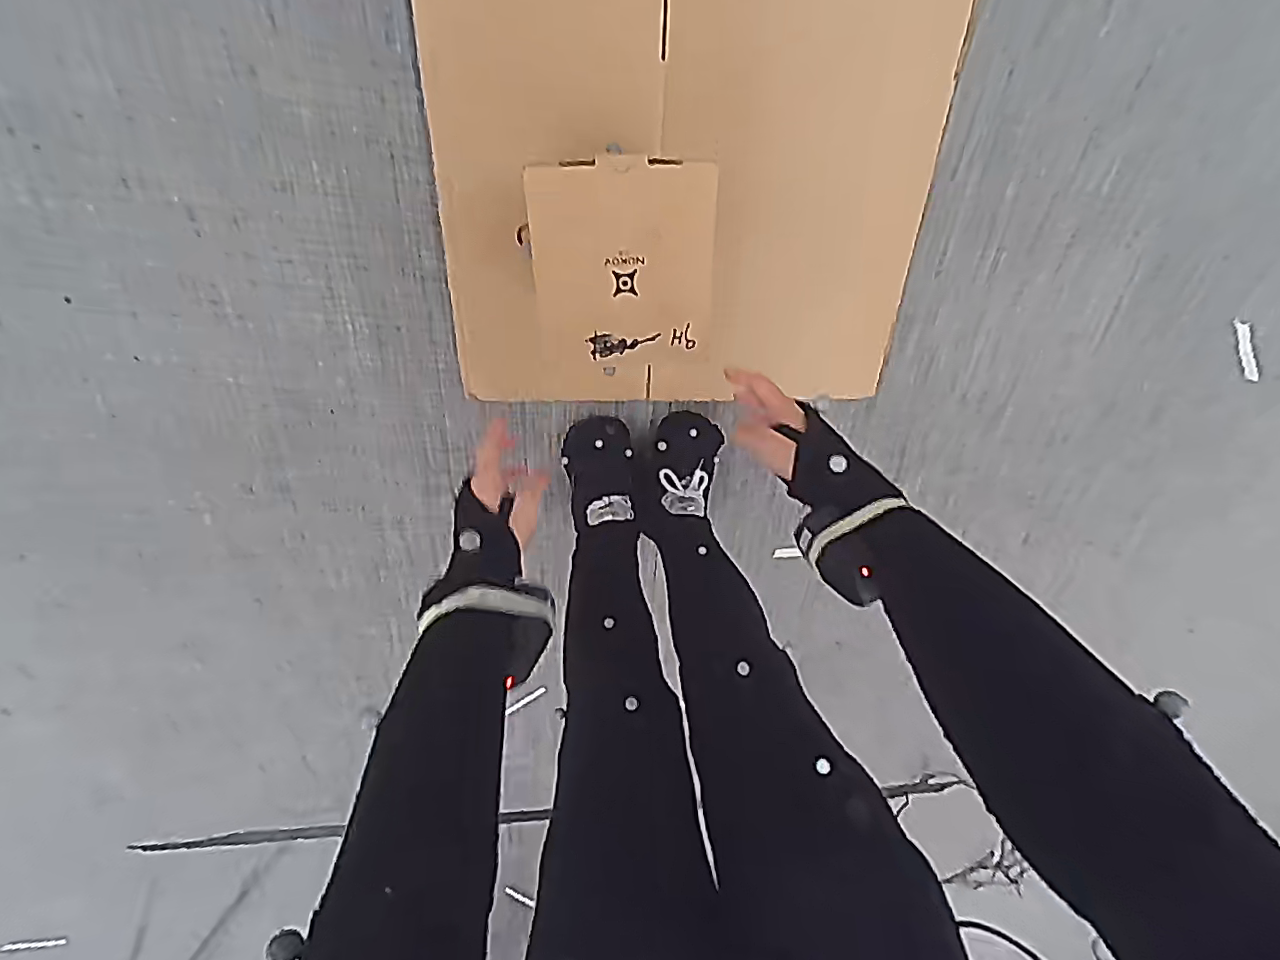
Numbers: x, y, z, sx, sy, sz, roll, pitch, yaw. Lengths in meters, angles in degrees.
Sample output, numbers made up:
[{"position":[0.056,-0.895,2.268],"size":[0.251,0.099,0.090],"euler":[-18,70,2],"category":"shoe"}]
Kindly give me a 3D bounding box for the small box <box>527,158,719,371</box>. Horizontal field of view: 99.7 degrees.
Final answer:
[{"position":[-0.022,-0.223,0.555],"size":[0.168,0.176,0.179],"euler":[-4,119,-5],"category":"small box"}]
